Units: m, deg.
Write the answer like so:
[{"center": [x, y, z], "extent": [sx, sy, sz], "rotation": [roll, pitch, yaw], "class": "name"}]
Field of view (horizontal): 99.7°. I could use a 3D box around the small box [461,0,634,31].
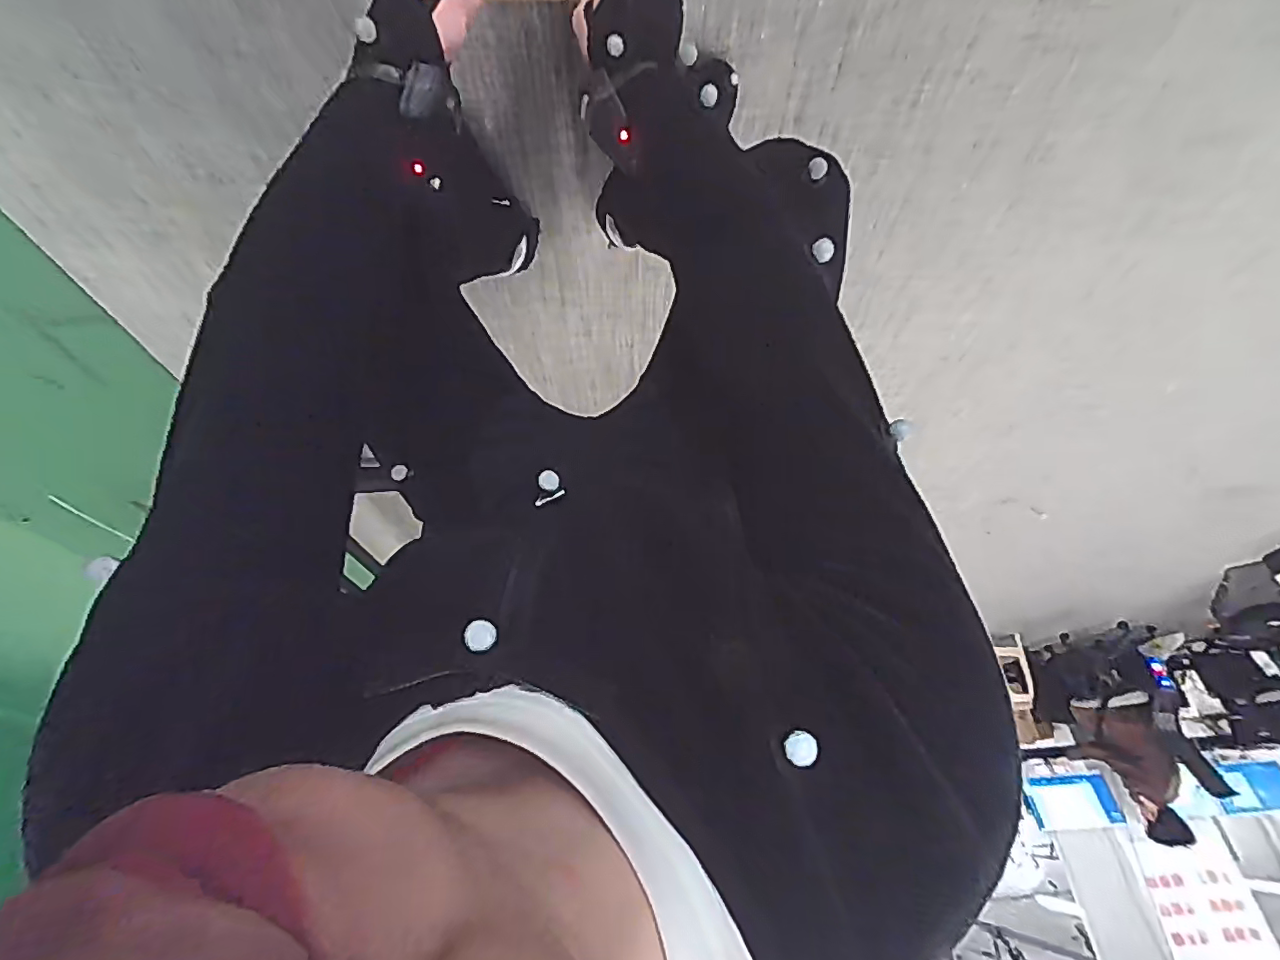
[{"center": [-0.087, -0.556, 0.498], "extent": [0.168, 0.176, 0.179], "rotation": [0, 148, -3], "class": "small box"}]
